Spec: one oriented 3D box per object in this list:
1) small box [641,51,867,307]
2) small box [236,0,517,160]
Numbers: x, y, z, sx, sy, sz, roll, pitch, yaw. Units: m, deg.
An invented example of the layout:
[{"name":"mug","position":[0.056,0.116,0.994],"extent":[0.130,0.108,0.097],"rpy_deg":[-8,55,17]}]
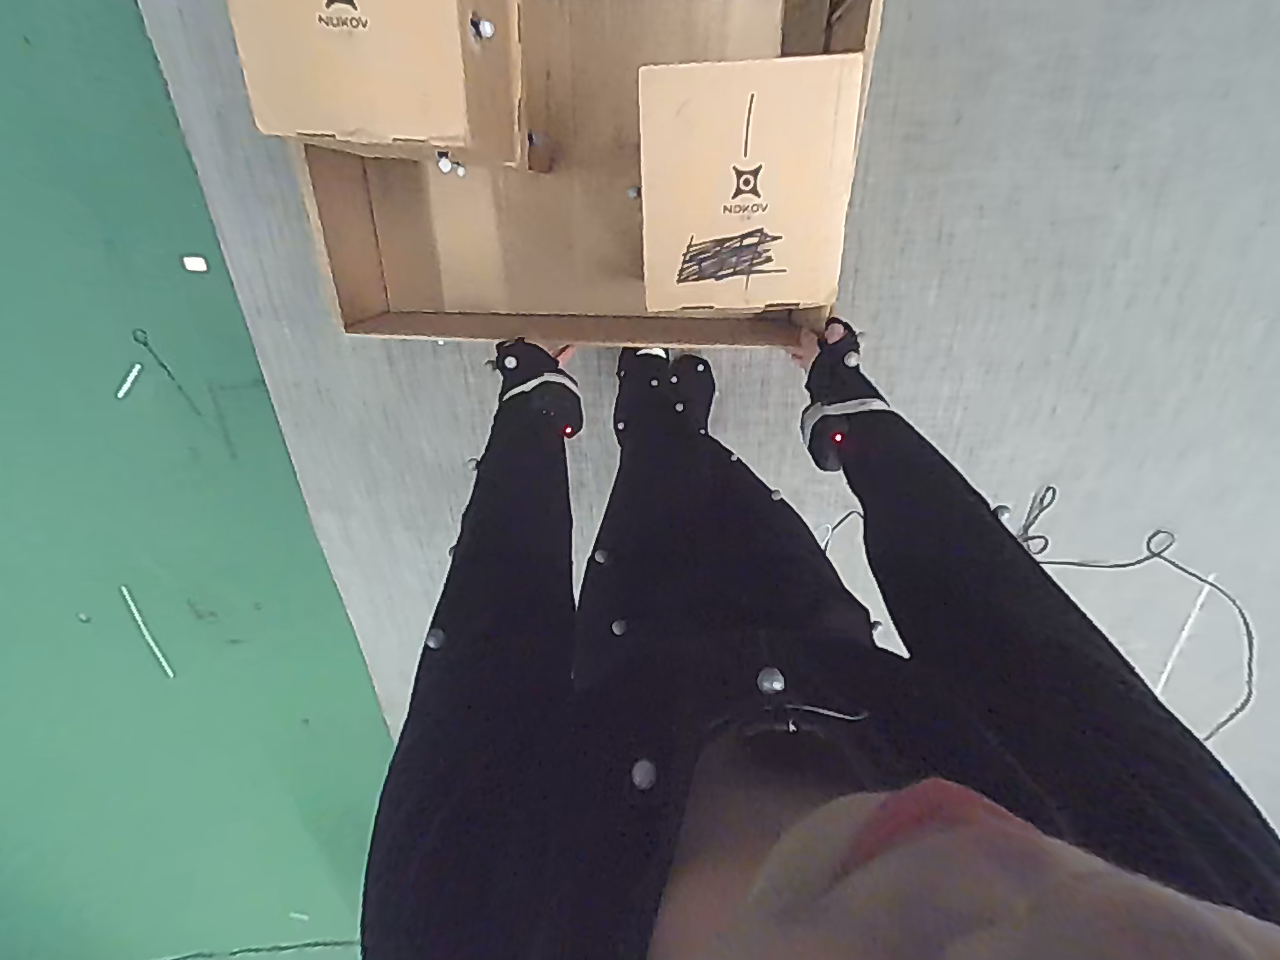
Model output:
[{"name":"small box","position":[0.088,-0.265,0.501],"extent":[0.168,0.176,0.179],"rpy_deg":[-2,116,2]},{"name":"small box","position":[-0.204,-0.378,0.455],"extent":[0.168,0.176,0.179],"rpy_deg":[4,116,0]}]
